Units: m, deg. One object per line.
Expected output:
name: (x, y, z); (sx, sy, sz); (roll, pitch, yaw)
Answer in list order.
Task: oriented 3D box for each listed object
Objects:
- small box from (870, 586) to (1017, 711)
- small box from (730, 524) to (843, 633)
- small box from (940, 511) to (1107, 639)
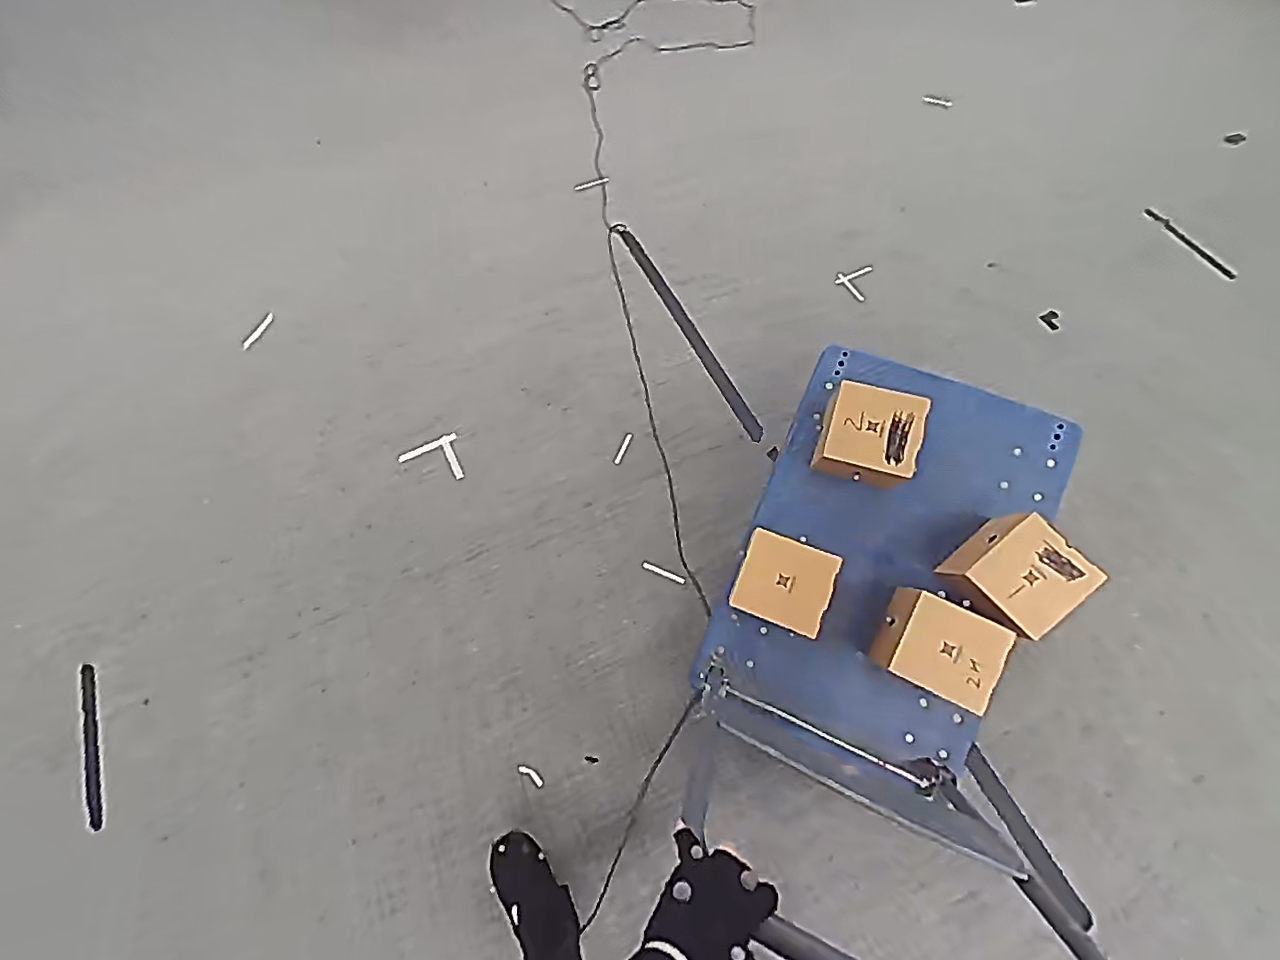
small box: (0.582, 0.320, 1.064); (0.179, 0.176, 0.168); (26, 87, 13)
small box: (0.295, 0.203, 1.131); (0.179, 0.176, 0.168); (20, 85, 10)
small box: (0.734, 0.182, 1.061); (0.179, 0.176, 0.168); (-43, 77, 2)
